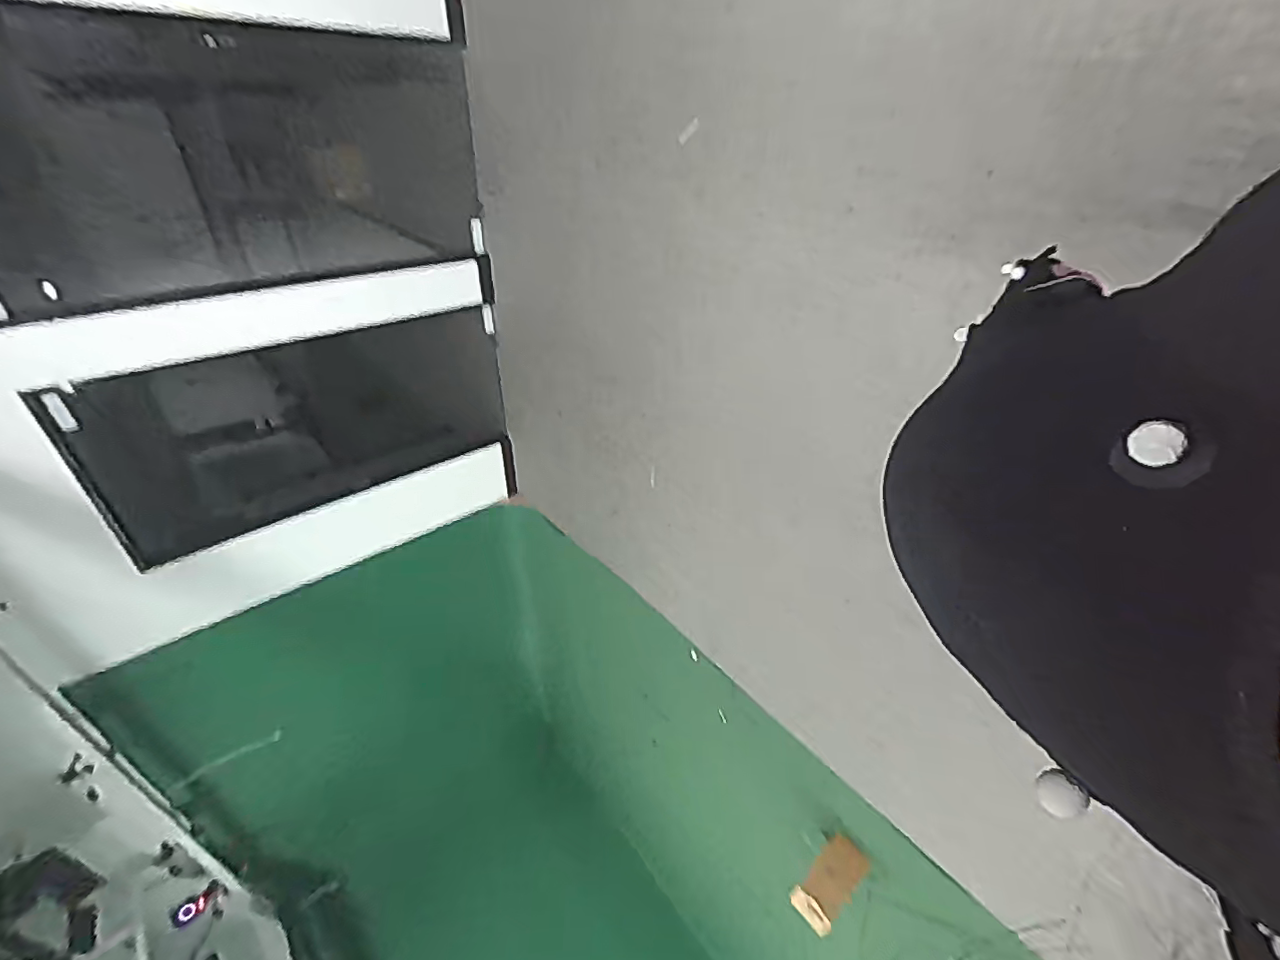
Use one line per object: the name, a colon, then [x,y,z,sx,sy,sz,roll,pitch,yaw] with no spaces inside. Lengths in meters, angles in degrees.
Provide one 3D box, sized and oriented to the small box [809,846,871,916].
small box: [0.899,1.793,2.430,0.179,0.176,0.168,39,137,34]
